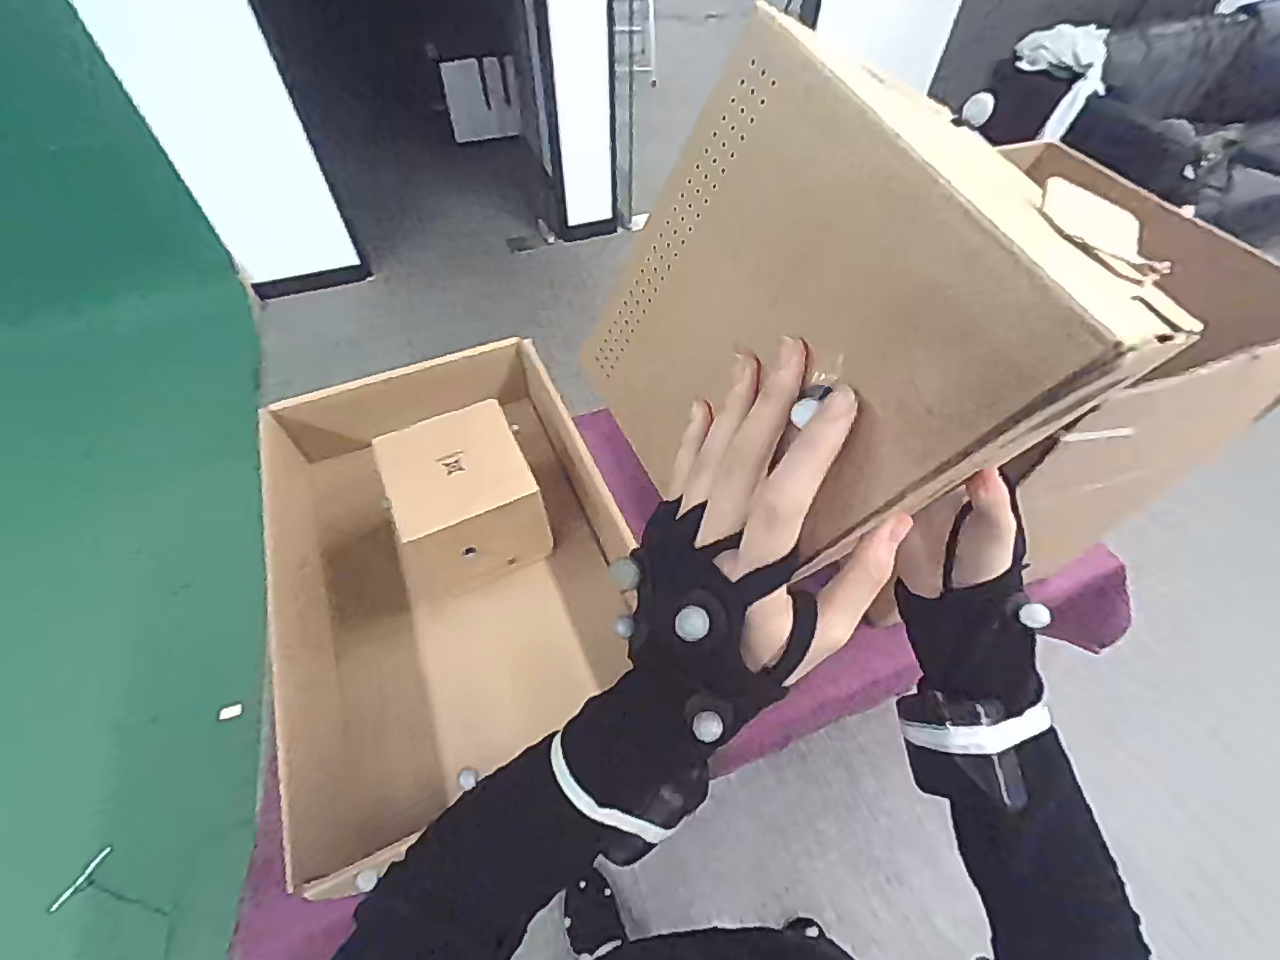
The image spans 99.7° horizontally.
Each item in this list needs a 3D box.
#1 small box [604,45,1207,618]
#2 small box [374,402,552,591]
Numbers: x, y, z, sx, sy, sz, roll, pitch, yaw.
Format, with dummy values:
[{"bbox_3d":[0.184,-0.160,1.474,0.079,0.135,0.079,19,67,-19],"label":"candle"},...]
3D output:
[{"bbox_3d":[0.106,-0.063,0.270,0.168,0.179,0.176,-14,66,-37],"label":"small box"},{"bbox_3d":[-0.233,0.031,0.741,0.168,0.176,0.179,-23,57,-15],"label":"small box"}]
